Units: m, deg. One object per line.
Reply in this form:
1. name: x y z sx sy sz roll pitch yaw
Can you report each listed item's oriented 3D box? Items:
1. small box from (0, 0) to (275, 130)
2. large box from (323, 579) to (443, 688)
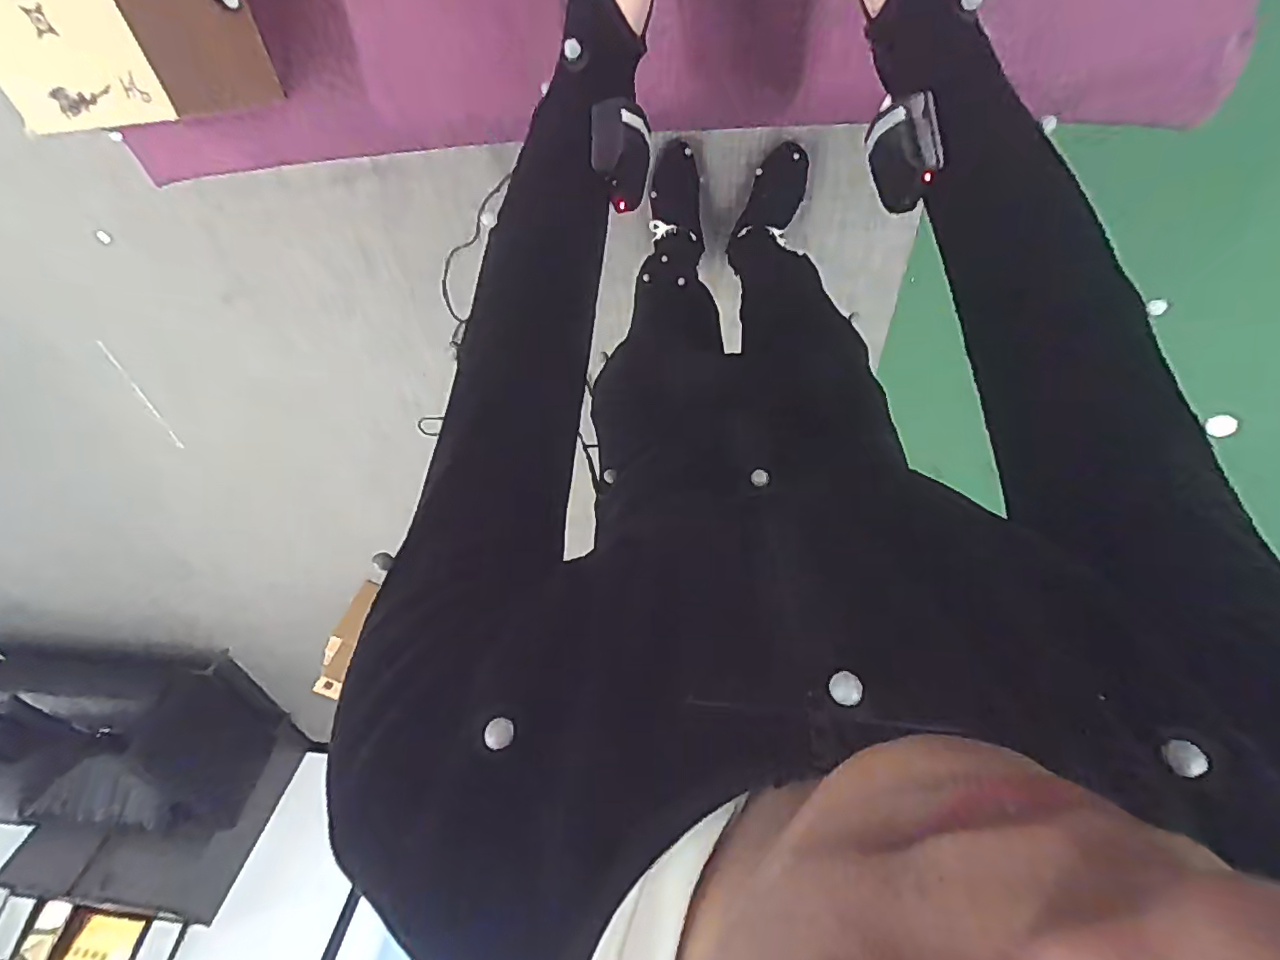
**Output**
1. small box: -0.505 -0.449 0.513 0.168 0.176 0.179 2 130 9
2. large box: -1.219 0.731 2.575 0.408 0.320 0.320 26 131 -15
